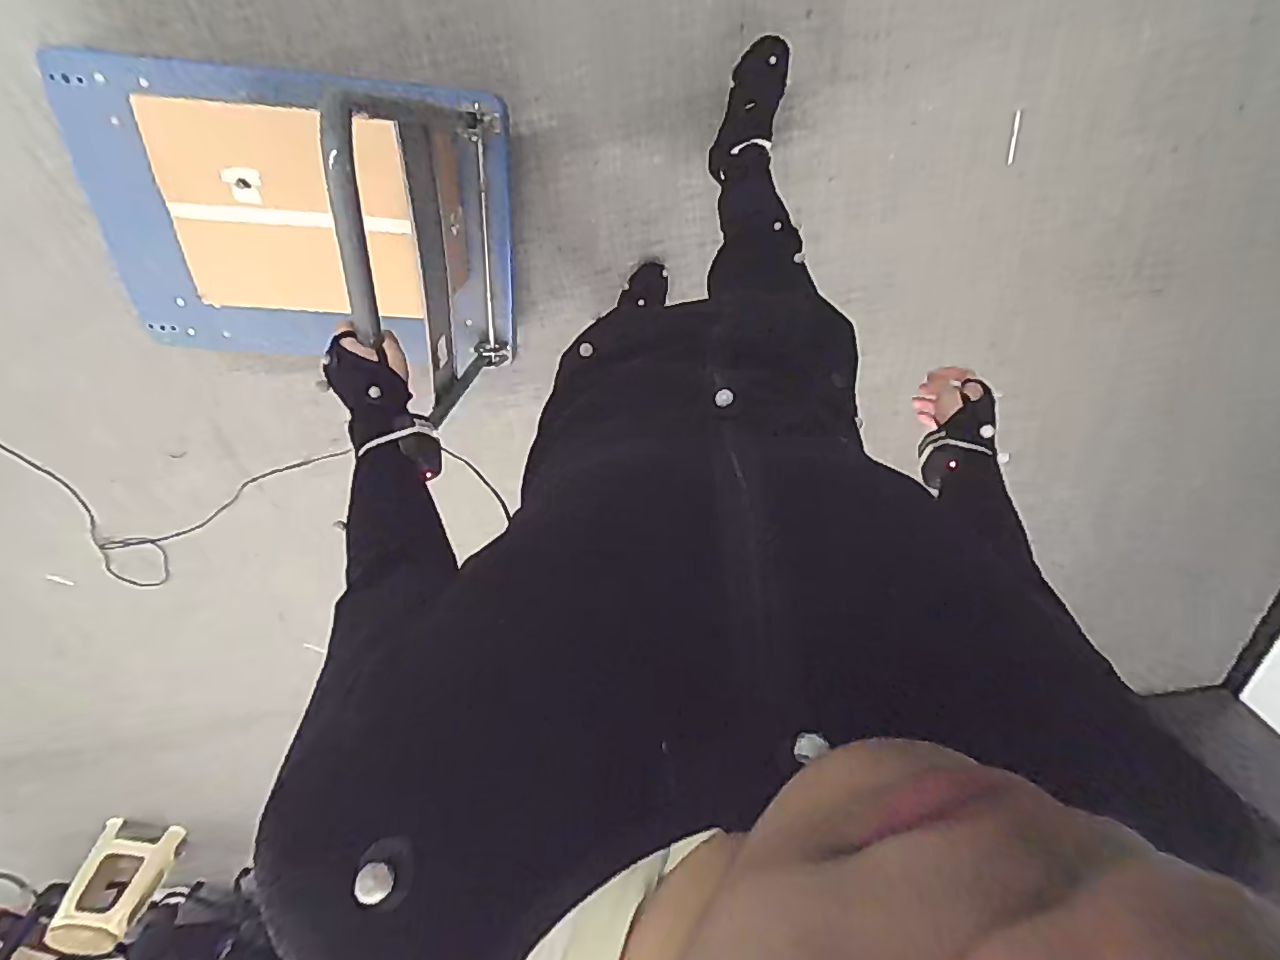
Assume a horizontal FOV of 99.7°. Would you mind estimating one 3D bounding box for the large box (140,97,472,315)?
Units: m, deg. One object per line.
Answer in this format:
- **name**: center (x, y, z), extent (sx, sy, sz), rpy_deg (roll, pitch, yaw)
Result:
- **large box**: center (-0.570, -0.521, 1.029), extent (0.408, 0.320, 0.320), rpy_deg (3, 122, -4)
